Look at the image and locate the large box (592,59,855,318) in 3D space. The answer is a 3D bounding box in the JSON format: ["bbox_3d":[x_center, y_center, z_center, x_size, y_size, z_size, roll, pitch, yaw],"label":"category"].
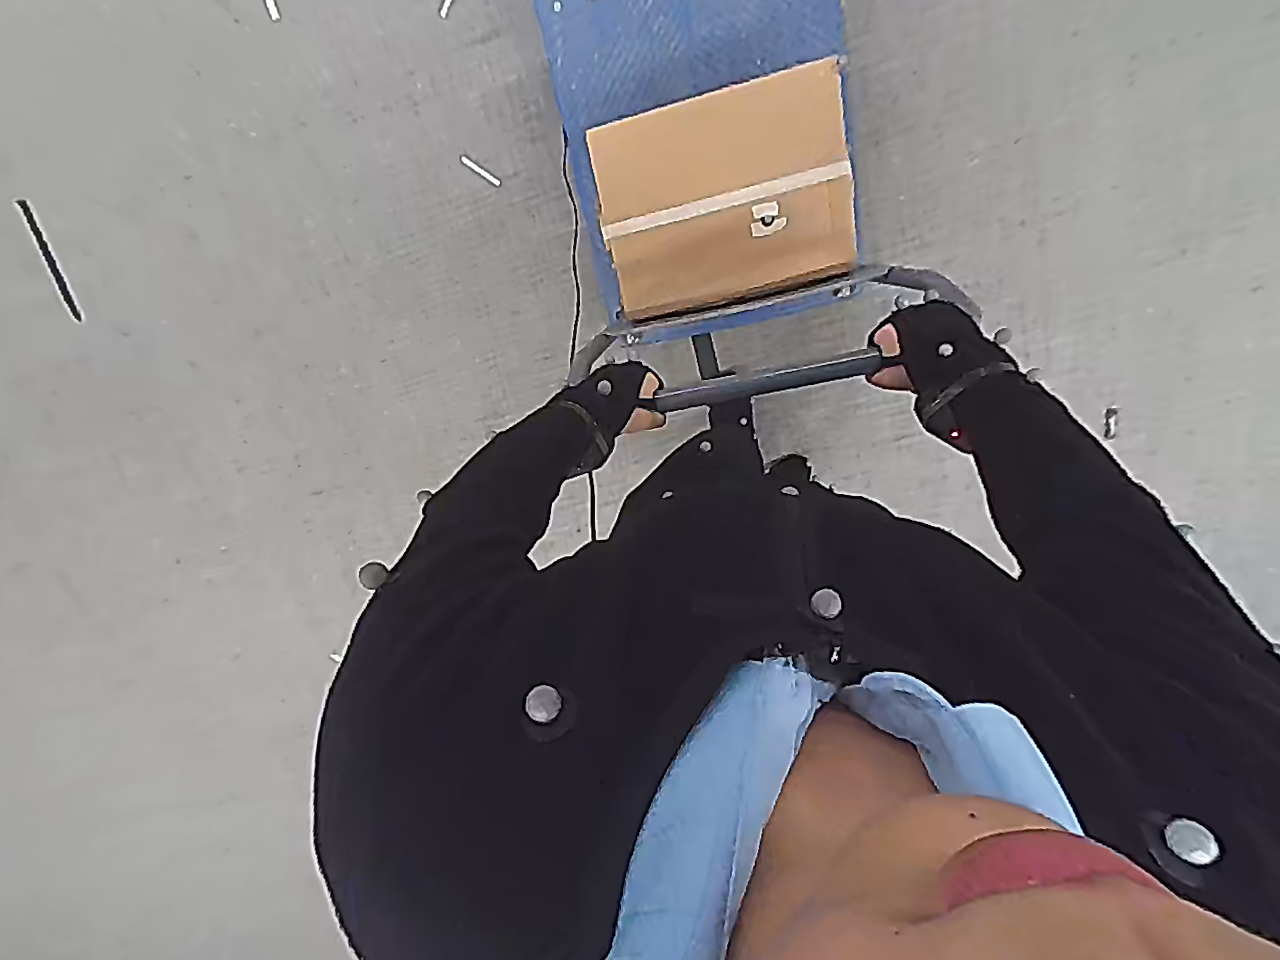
[{"bbox_3d":[0.158,-0.522,1.055,0.408,0.320,0.320,-10,108,10],"label":"large box"}]
